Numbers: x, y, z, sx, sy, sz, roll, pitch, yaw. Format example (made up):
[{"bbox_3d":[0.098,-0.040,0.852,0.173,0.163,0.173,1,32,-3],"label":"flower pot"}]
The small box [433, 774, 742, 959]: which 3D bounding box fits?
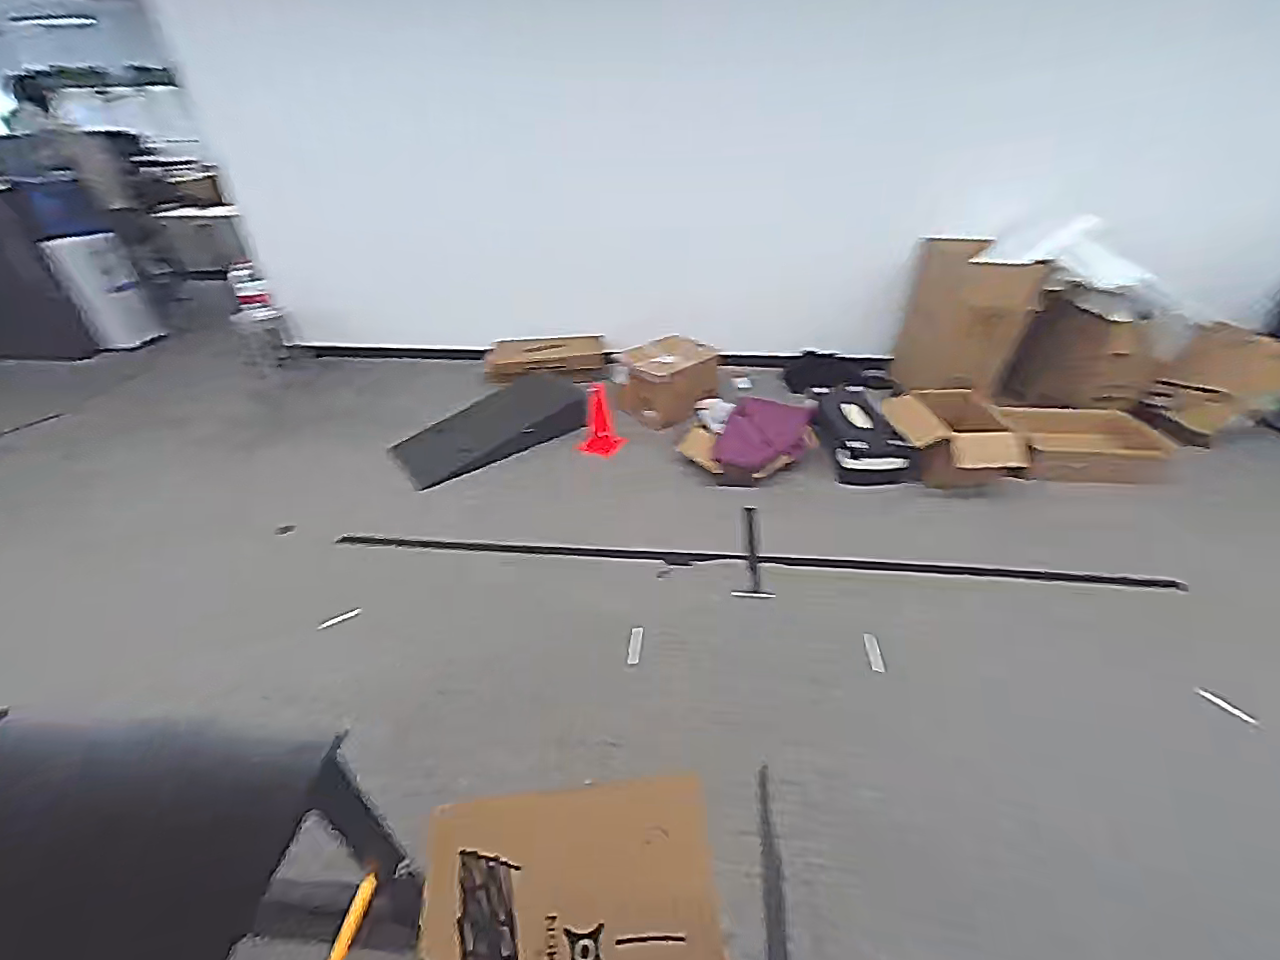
[{"bbox_3d":[-0.027,0.314,0.366,0.179,0.176,0.168,-6,53,-3],"label":"small box"}]
